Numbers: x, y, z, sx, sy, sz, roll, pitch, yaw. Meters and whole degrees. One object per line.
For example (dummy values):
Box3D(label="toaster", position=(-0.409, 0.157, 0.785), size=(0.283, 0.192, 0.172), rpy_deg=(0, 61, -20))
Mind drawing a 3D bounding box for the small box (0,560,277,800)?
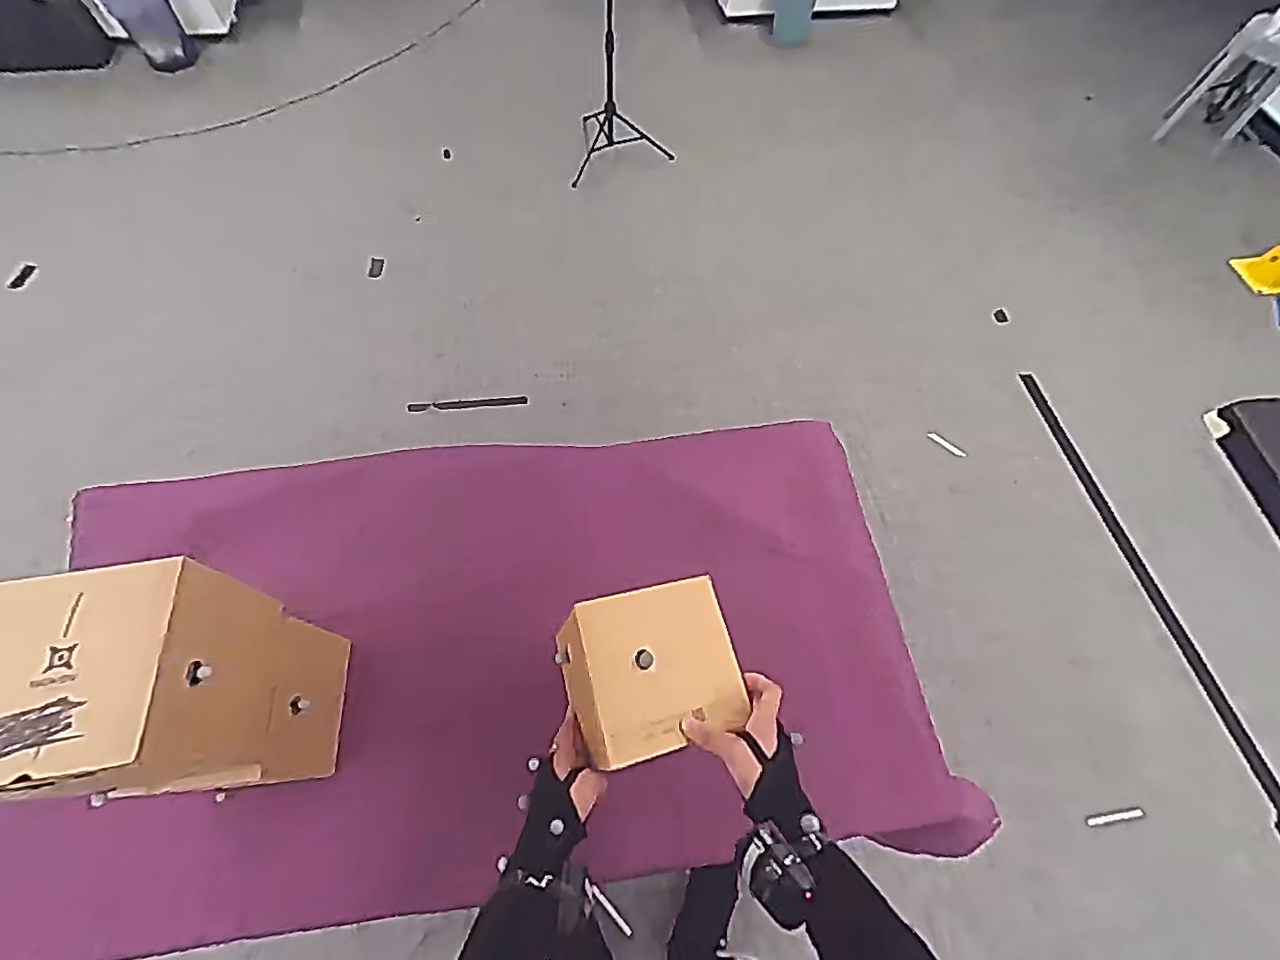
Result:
Box3D(label="small box", position=(-0.485, 0.195, 0.520), size=(0.168, 0.176, 0.179), rpy_deg=(-8, 63, -7))

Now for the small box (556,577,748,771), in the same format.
Box3D(label="small box", position=(0.005, 0.235, 0.647), size=(0.168, 0.179, 0.176), rpy_deg=(-8, 66, -20))

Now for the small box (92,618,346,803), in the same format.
Box3D(label="small box", position=(-0.486, 0.279, 0.661), size=(0.168, 0.176, 0.179), rpy_deg=(-4, 63, -5))
